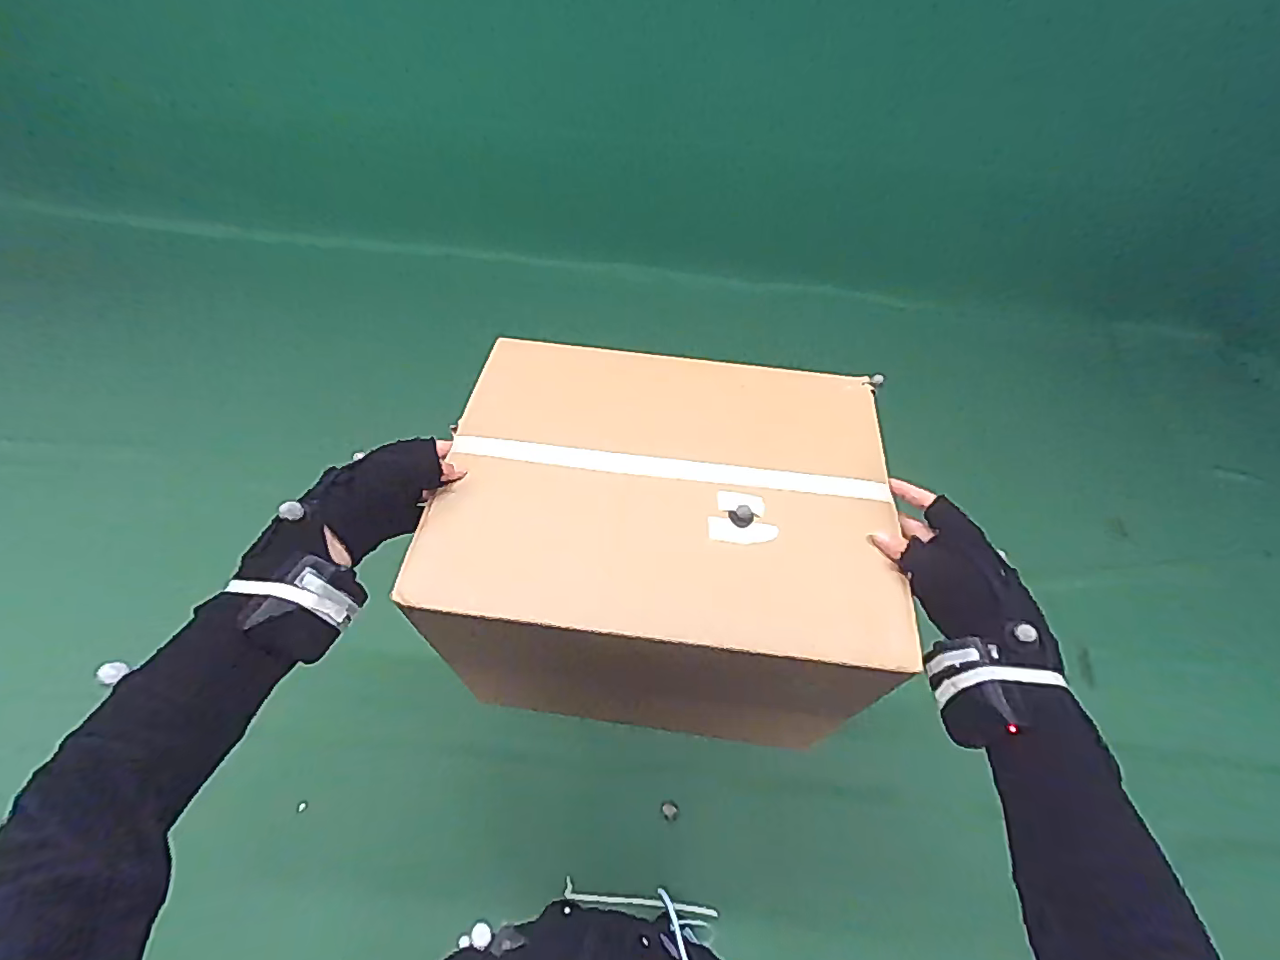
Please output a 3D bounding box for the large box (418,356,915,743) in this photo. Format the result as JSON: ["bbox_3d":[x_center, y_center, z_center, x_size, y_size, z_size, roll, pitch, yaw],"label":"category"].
[{"bbox_3d":[0.025,0.090,0.630,0.408,0.320,0.320,7,54,2],"label":"large box"}]
